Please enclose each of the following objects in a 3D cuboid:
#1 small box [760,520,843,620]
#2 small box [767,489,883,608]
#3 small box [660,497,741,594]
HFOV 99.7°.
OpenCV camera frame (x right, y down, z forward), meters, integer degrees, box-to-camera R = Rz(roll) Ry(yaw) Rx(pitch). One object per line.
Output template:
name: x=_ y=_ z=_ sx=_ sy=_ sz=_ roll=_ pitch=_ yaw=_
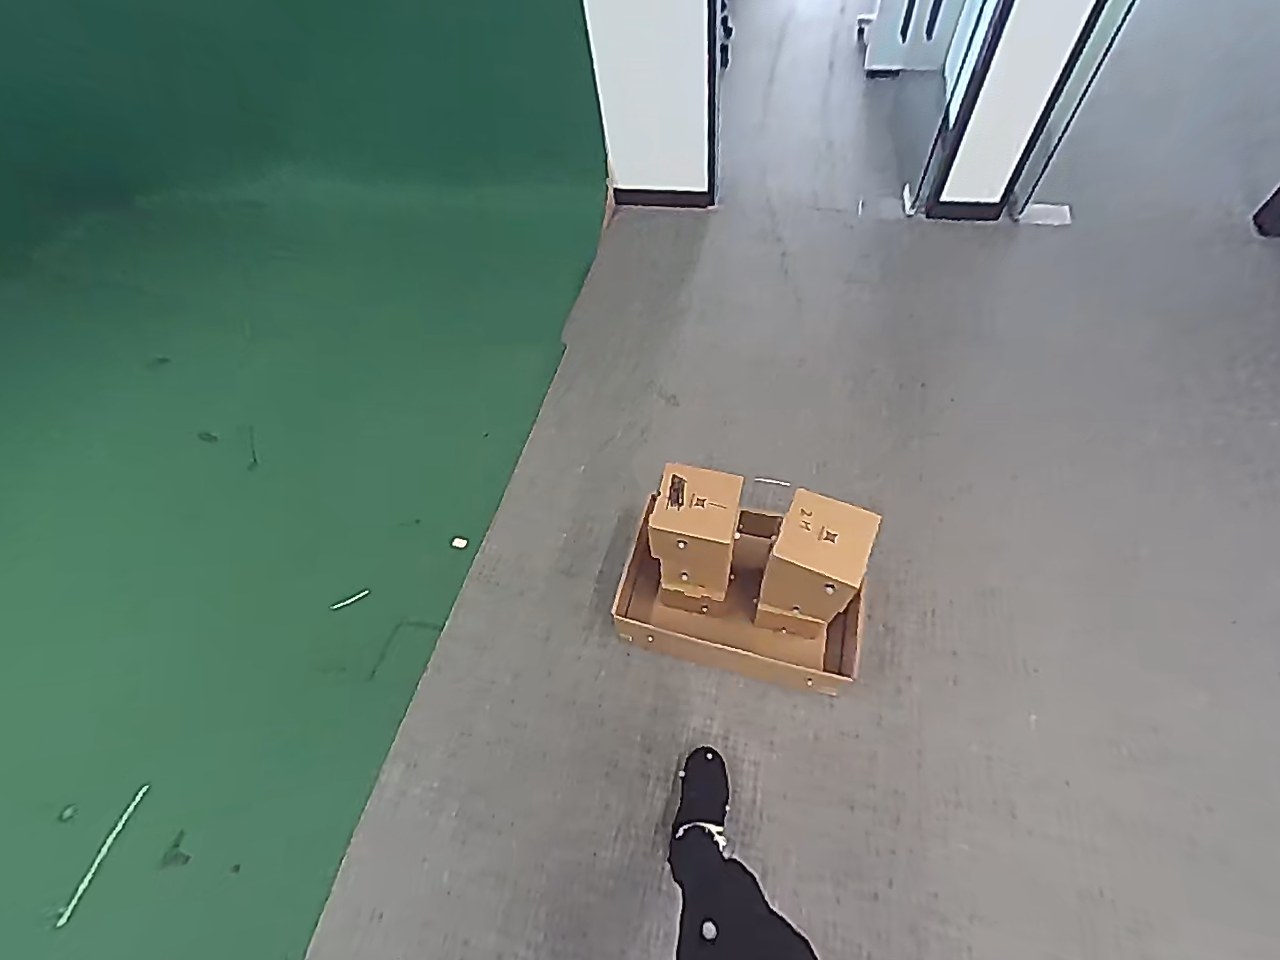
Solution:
small box: x=0.394 y=0.220 z=1.286 sx=0.179 sy=0.176 sz=0.168 roll=13 pitch=63 yaw=15
small box: x=0.380 y=0.151 z=1.136 sx=0.179 sy=0.176 sz=0.168 roll=20 pitch=65 yaw=19
small box: x=0.153 y=0.168 z=1.354 sx=0.168 sy=0.176 sz=0.179 roll=10 pitch=61 yaw=11
